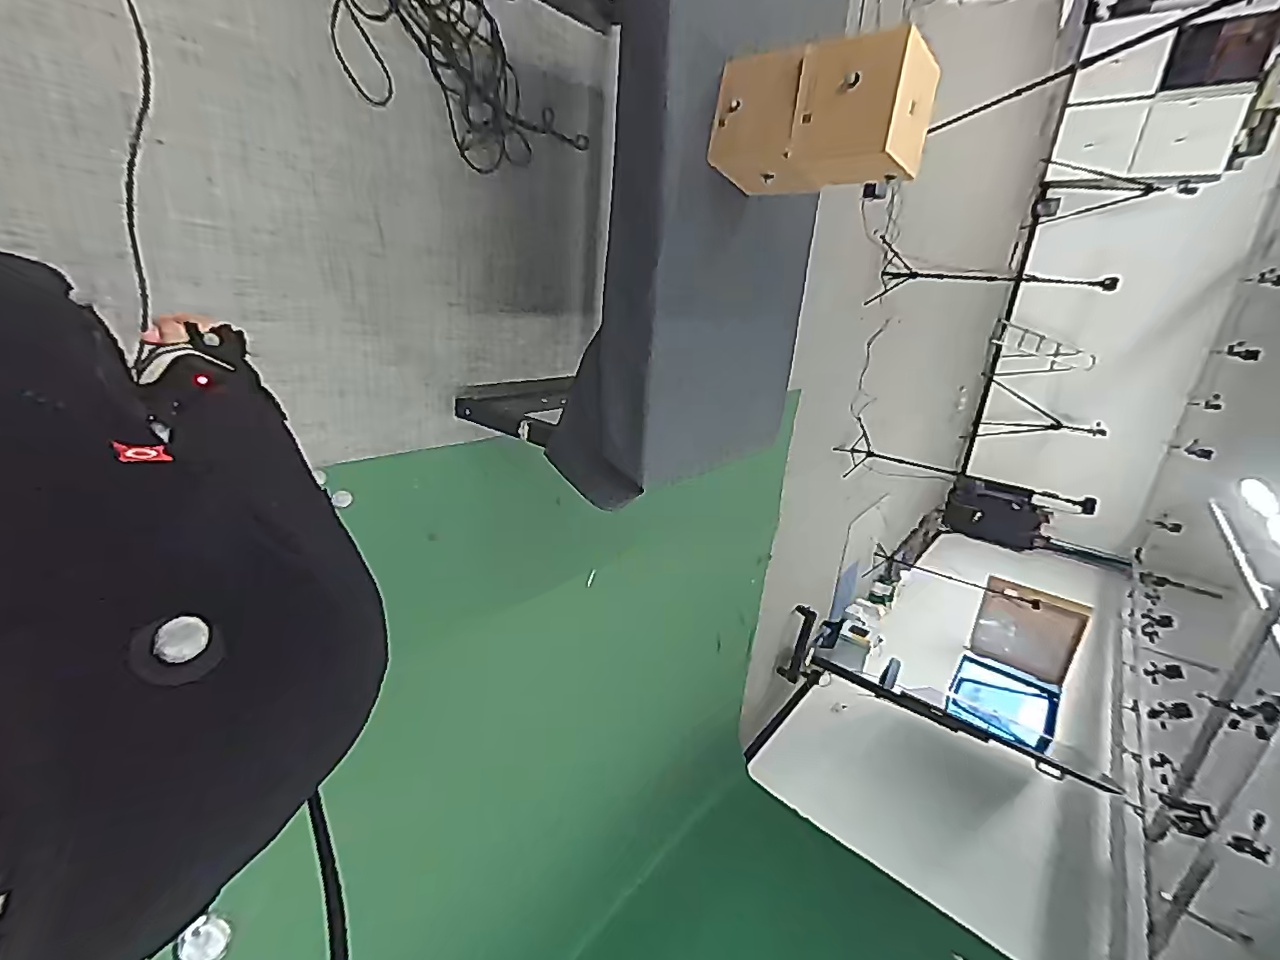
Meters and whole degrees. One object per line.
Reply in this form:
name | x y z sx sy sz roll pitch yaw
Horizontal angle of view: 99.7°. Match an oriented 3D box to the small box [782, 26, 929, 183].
small box | 0.358 -0.609 0.908 0.179 0.176 0.168 -15 117 -49
